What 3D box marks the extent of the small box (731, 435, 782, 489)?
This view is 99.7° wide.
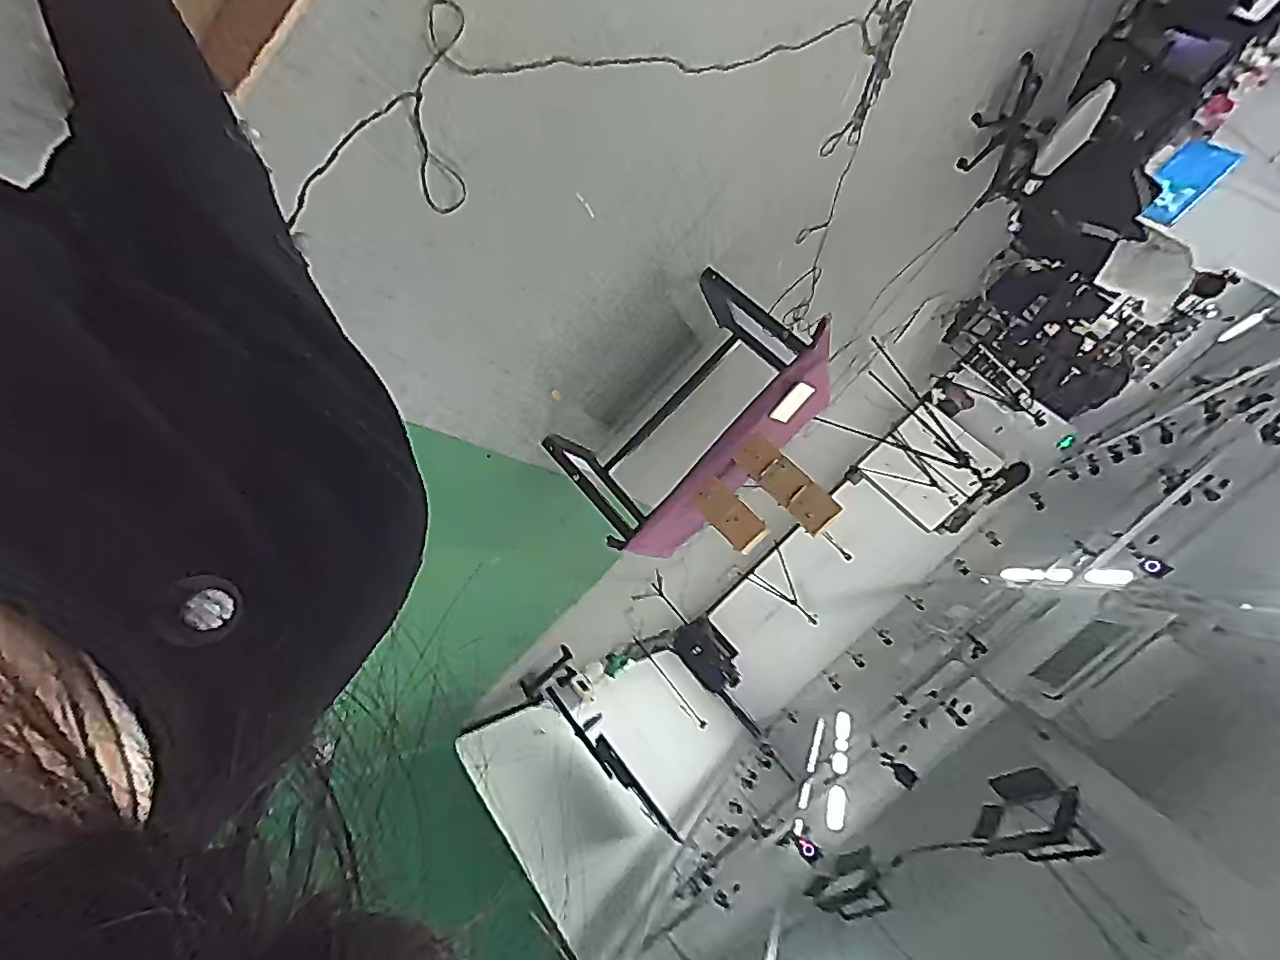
[{"bbox_3d":[0.535,-0.082,2.462,0.168,0.176,0.179,-45,158,6],"label":"small box"}]

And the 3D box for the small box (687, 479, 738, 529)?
[{"bbox_3d":[0.344,0.114,2.486,0.168,0.176,0.179,-46,159,6],"label":"small box"}]

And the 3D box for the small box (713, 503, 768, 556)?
[{"bbox_3d":[0.451,0.224,2.434,0.168,0.176,0.179,-45,159,6],"label":"small box"}]

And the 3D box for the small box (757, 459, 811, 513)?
[{"bbox_3d":[0.638,0.028,2.396,0.168,0.176,0.179,-45,159,6],"label":"small box"}]

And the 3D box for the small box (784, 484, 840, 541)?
[{"bbox_3d":[0.740,0.138,2.332,0.168,0.176,0.179,-45,159,5],"label":"small box"}]
